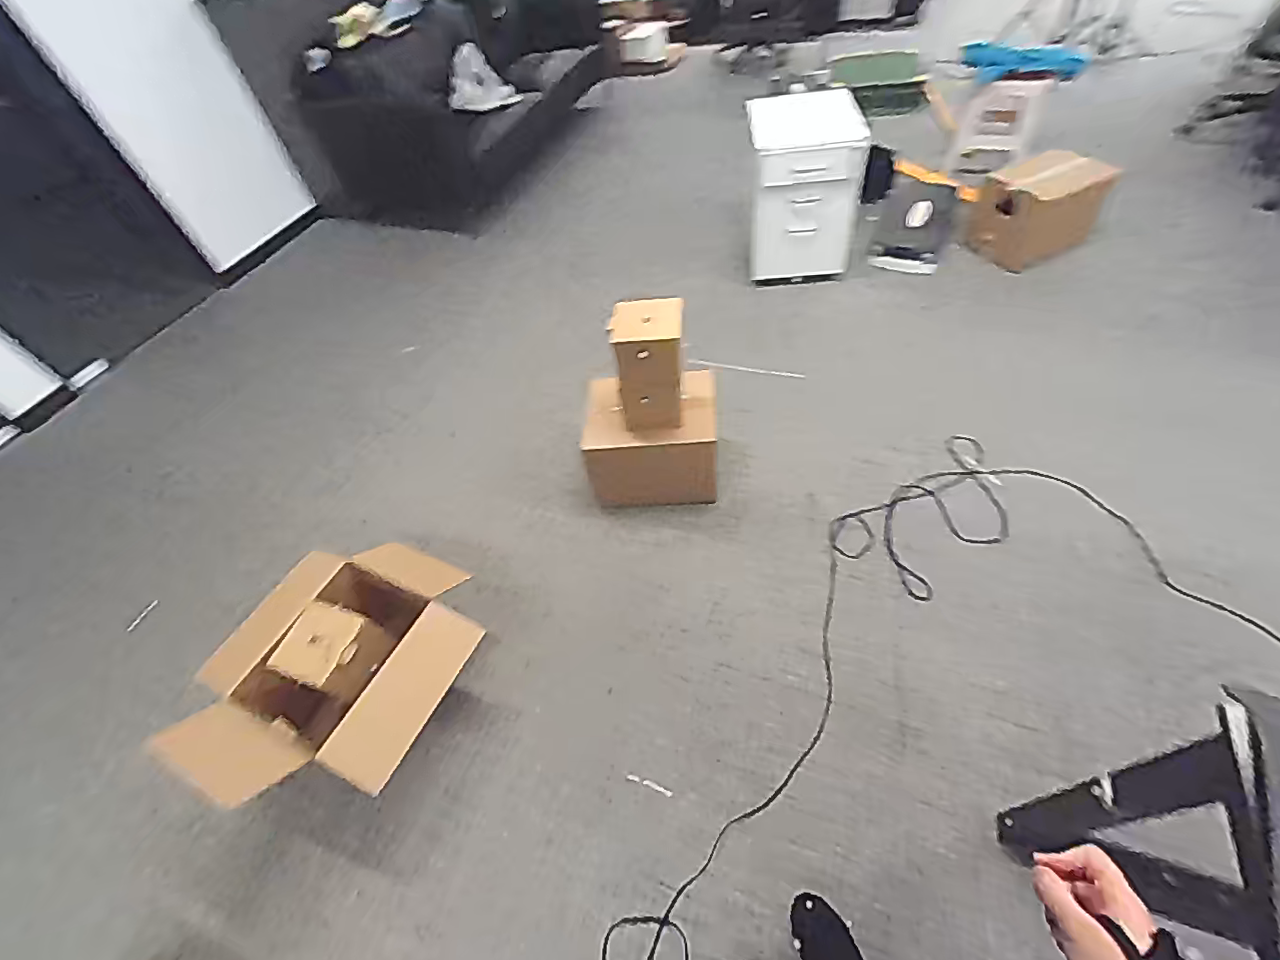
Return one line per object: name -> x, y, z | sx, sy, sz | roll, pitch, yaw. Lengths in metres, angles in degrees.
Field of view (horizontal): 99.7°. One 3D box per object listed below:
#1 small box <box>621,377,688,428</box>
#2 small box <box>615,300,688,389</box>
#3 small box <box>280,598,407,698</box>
small box -> 0.048, -0.267, 1.609 | 0.179, 0.176, 0.168 | -2, 53, 8
small box -> 0.039, -0.366, 1.479 | 0.179, 0.176, 0.168 | -2, 53, 9
small box -> -0.726, 0.421, 1.343 | 0.179, 0.176, 0.168 | 12, 57, 18
